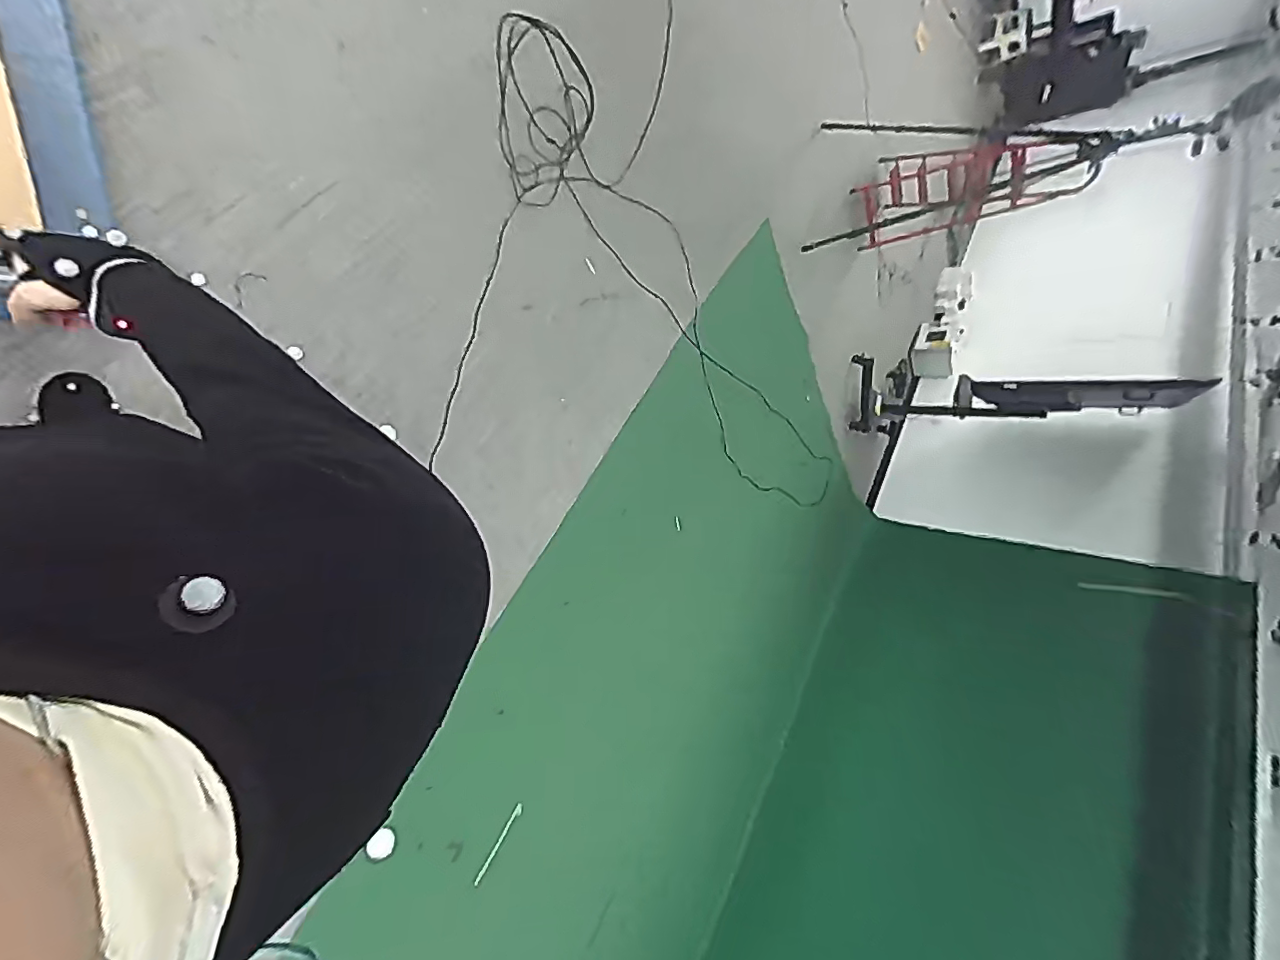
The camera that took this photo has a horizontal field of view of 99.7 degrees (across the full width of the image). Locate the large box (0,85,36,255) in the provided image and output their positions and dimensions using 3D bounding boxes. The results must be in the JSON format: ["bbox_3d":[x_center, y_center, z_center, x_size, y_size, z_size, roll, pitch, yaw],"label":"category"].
[{"bbox_3d":[-1.091,-0.545,0.719,0.320,0.320,0.408,-17,109,-48],"label":"large box"}]
